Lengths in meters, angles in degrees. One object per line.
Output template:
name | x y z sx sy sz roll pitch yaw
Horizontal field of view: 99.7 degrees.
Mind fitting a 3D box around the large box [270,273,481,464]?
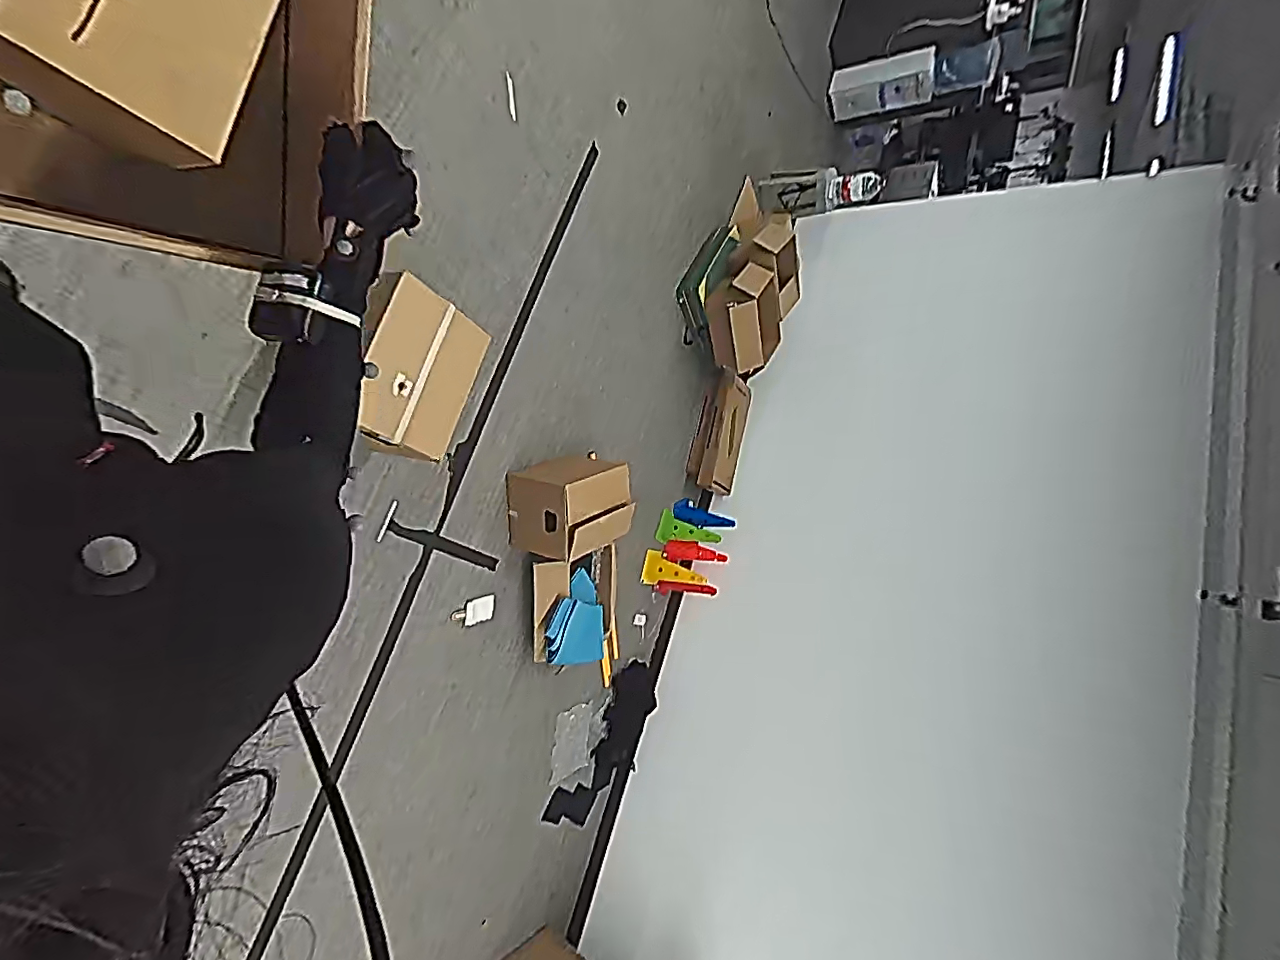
large box | -0.709 -0.301 1.480 0.320 0.320 0.408 36 69 -55
